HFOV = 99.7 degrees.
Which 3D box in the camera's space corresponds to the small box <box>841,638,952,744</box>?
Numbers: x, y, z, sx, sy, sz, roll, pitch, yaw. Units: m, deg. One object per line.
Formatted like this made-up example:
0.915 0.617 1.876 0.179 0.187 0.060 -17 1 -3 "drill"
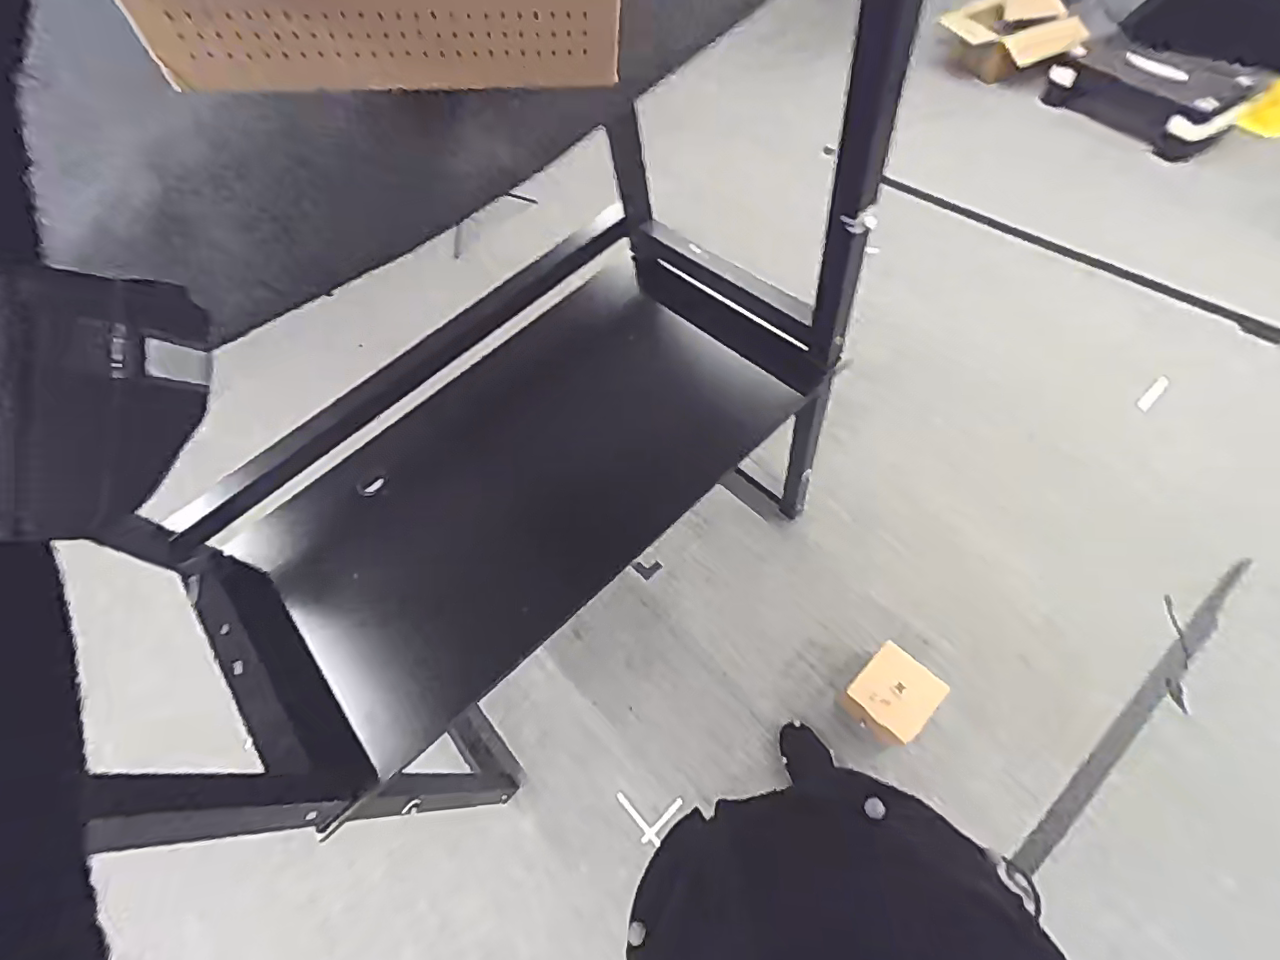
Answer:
0.623 0.525 1.340 0.179 0.176 0.168 -44 63 -13 "small box"
